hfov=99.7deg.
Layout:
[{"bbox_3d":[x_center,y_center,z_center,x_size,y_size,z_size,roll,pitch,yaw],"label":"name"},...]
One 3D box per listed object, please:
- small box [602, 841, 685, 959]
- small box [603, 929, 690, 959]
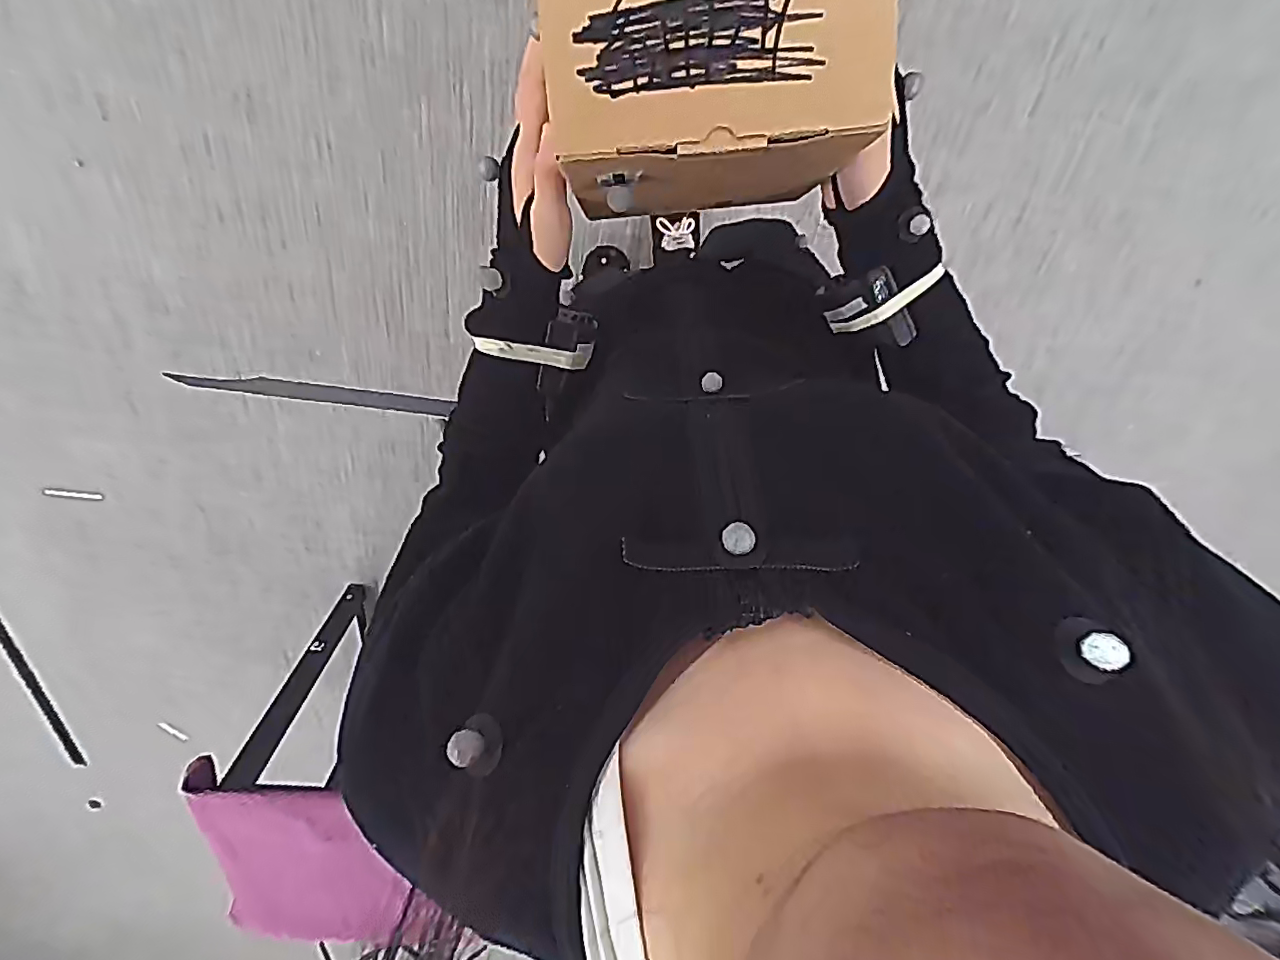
[{"bbox_3d":[0.002,0.955,1.227,0.168,0.176,0.179,3,120,-5],"label":"small box"},{"bbox_3d":[0.010,1.036,1.087,0.179,0.176,0.168,2,122,-4],"label":"small box"}]
